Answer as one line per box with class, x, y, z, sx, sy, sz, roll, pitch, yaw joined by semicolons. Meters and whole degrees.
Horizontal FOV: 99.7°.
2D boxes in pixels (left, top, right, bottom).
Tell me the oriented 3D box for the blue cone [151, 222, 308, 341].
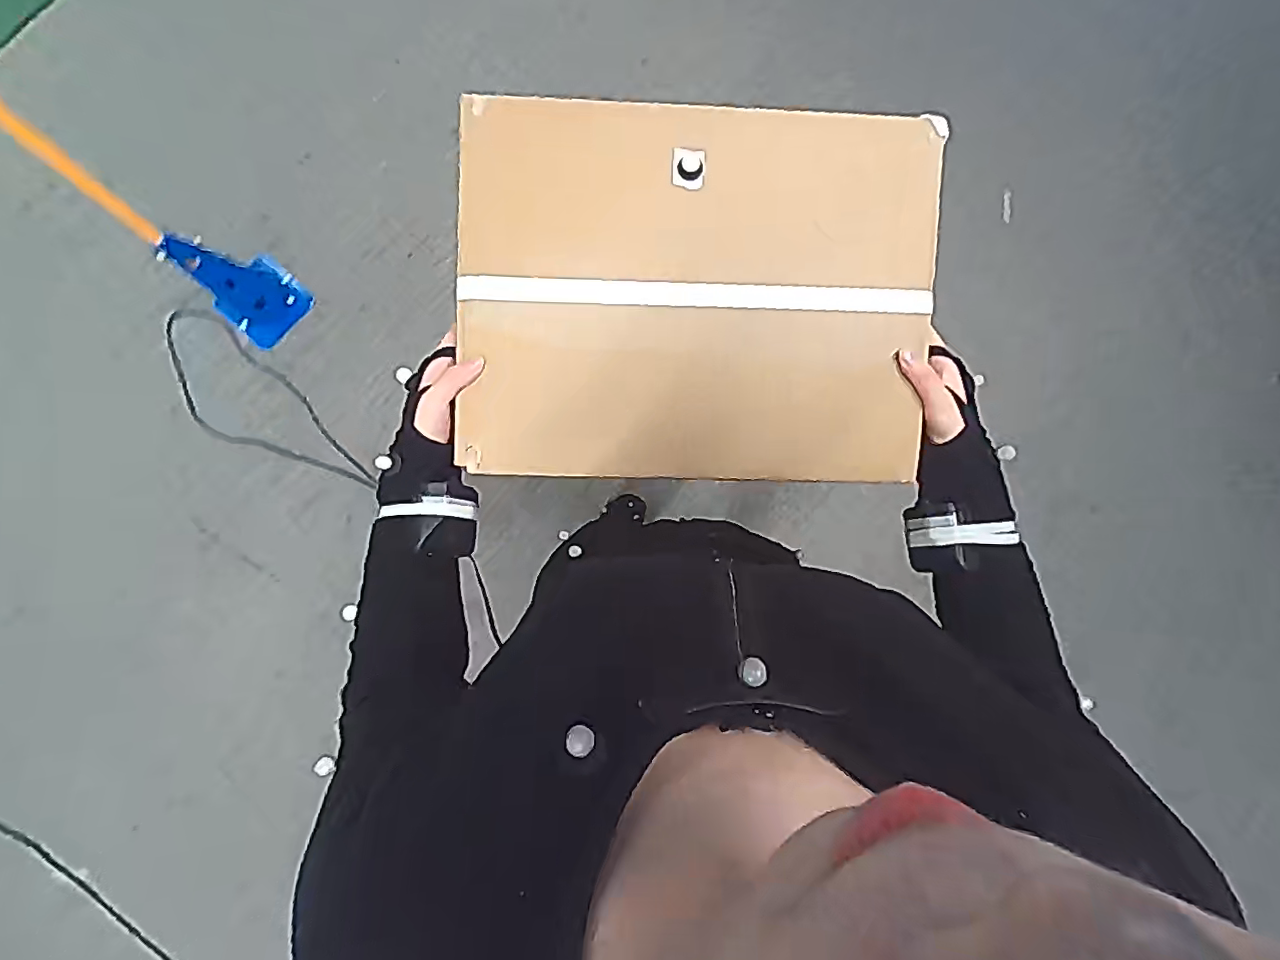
blue cone;-0.995;-0.500;1.276;0.192;0.380;0.193;41;85;-2
